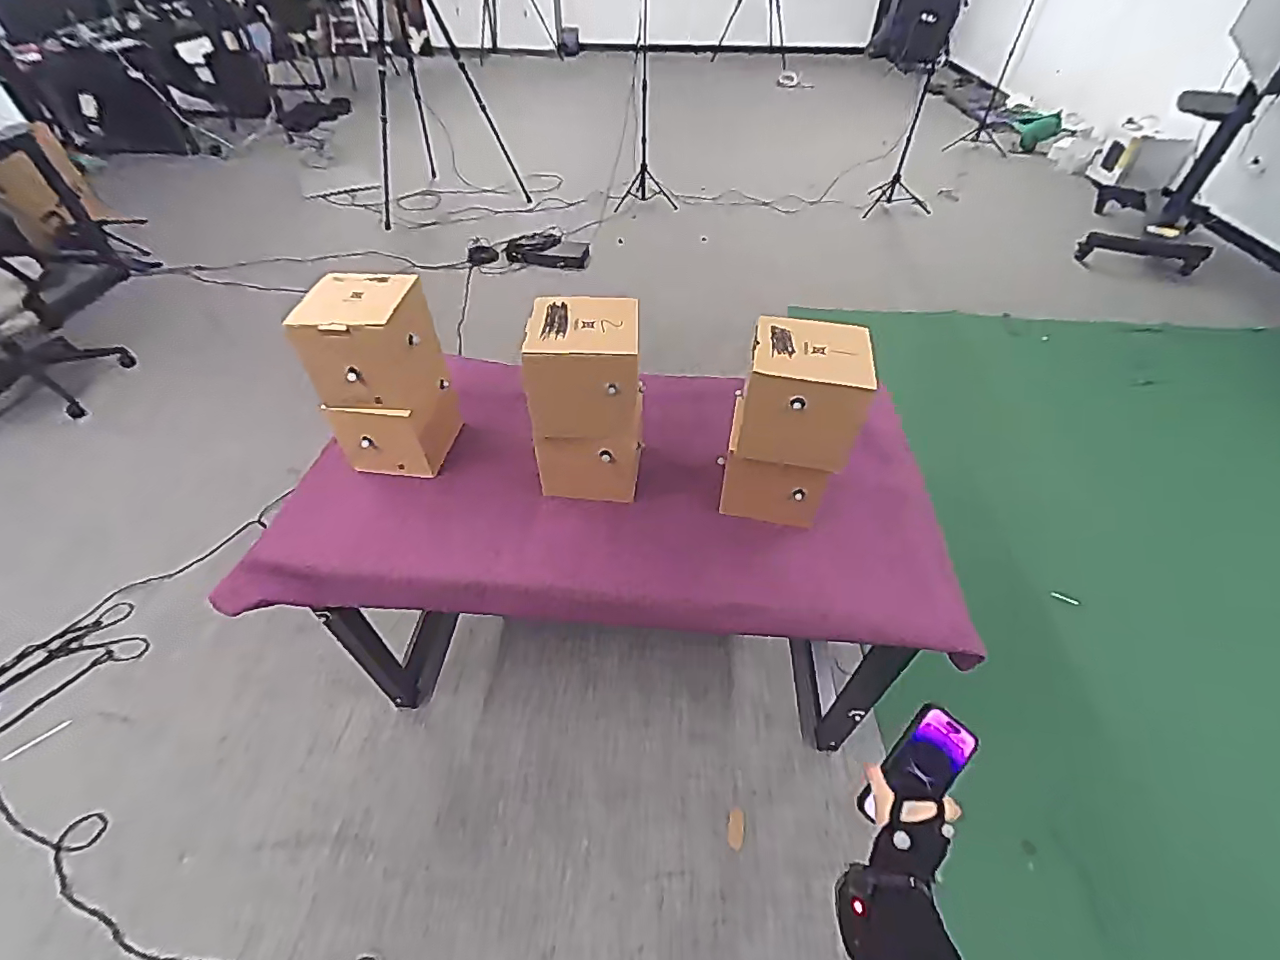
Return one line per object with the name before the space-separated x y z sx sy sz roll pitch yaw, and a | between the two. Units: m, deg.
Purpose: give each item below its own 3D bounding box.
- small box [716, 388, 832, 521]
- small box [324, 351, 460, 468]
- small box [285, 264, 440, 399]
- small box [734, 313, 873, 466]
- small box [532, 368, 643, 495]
small box | 0.245 -0.044 0.997 0.179 0.176 0.168 10 48 9
small box | -0.477 -0.143 1.075 0.168 0.176 0.179 6 48 5
small box | -0.474 -0.260 0.959 0.168 0.176 0.179 3 48 1
small box | 0.253 -0.142 0.865 0.179 0.176 0.168 11 48 8
small box | -0.091 -0.089 1.030 0.179 0.176 0.168 6 48 4
